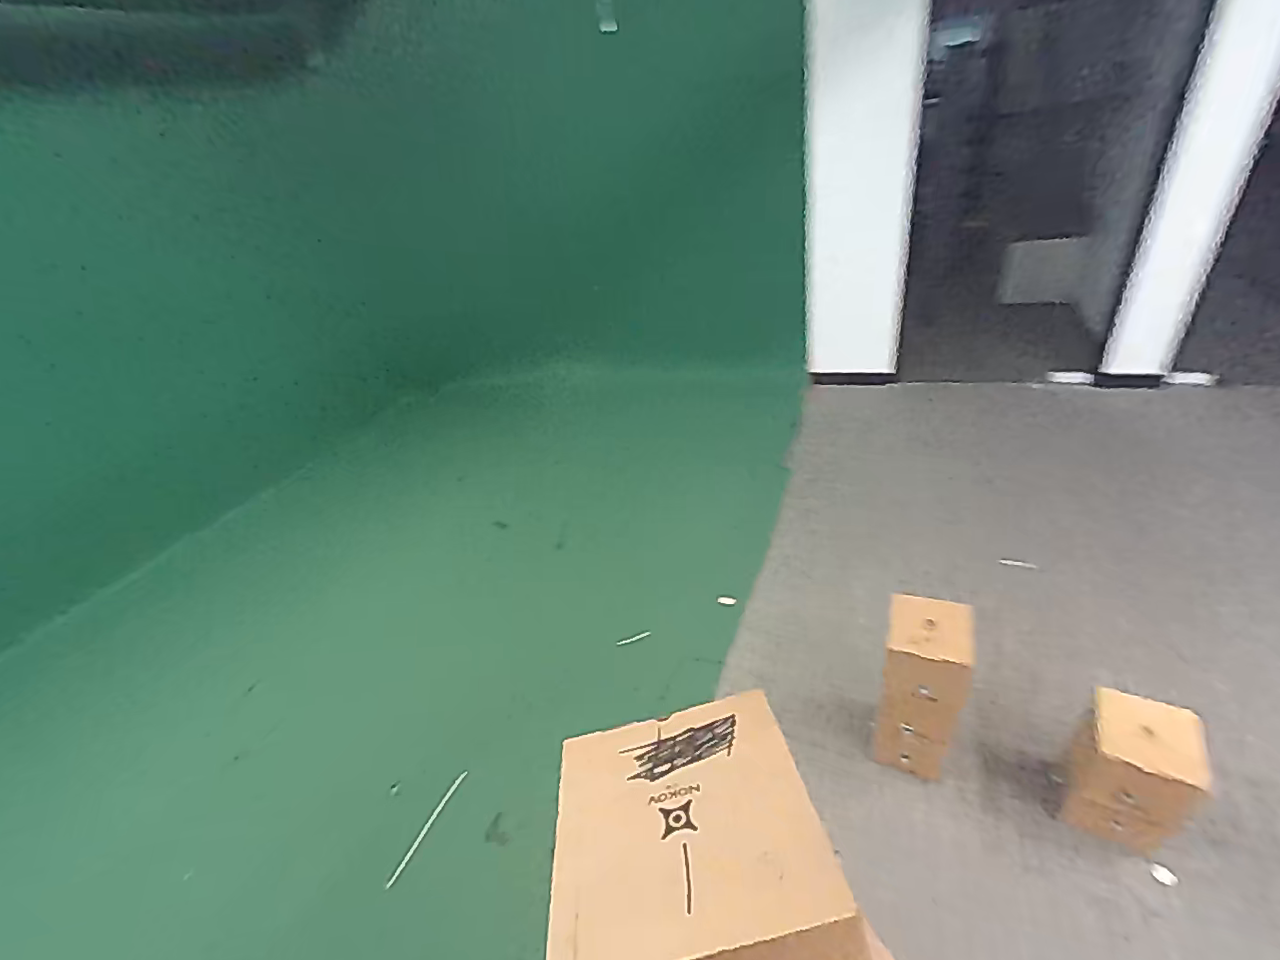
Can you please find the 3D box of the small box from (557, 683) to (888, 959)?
[{"bbox_3d":[0.054,0.277,0.368,0.168,0.176,0.179,-15,17,2],"label":"small box"}]

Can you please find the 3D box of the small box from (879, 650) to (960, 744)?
[{"bbox_3d":[0.694,0.517,1.348,0.168,0.176,0.179,5,38,26],"label":"small box"}]

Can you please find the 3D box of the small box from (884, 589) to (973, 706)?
[{"bbox_3d":[0.664,0.384,1.253,0.168,0.176,0.179,5,37,27],"label":"small box"}]

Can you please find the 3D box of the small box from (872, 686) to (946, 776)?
[{"bbox_3d":[0.721,0.648,1.440,0.168,0.176,0.179,8,40,28],"label":"small box"}]

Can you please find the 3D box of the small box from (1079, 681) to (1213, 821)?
[{"bbox_3d":[1.058,0.572,1.148,0.168,0.176,0.179,11,41,31],"label":"small box"}]
